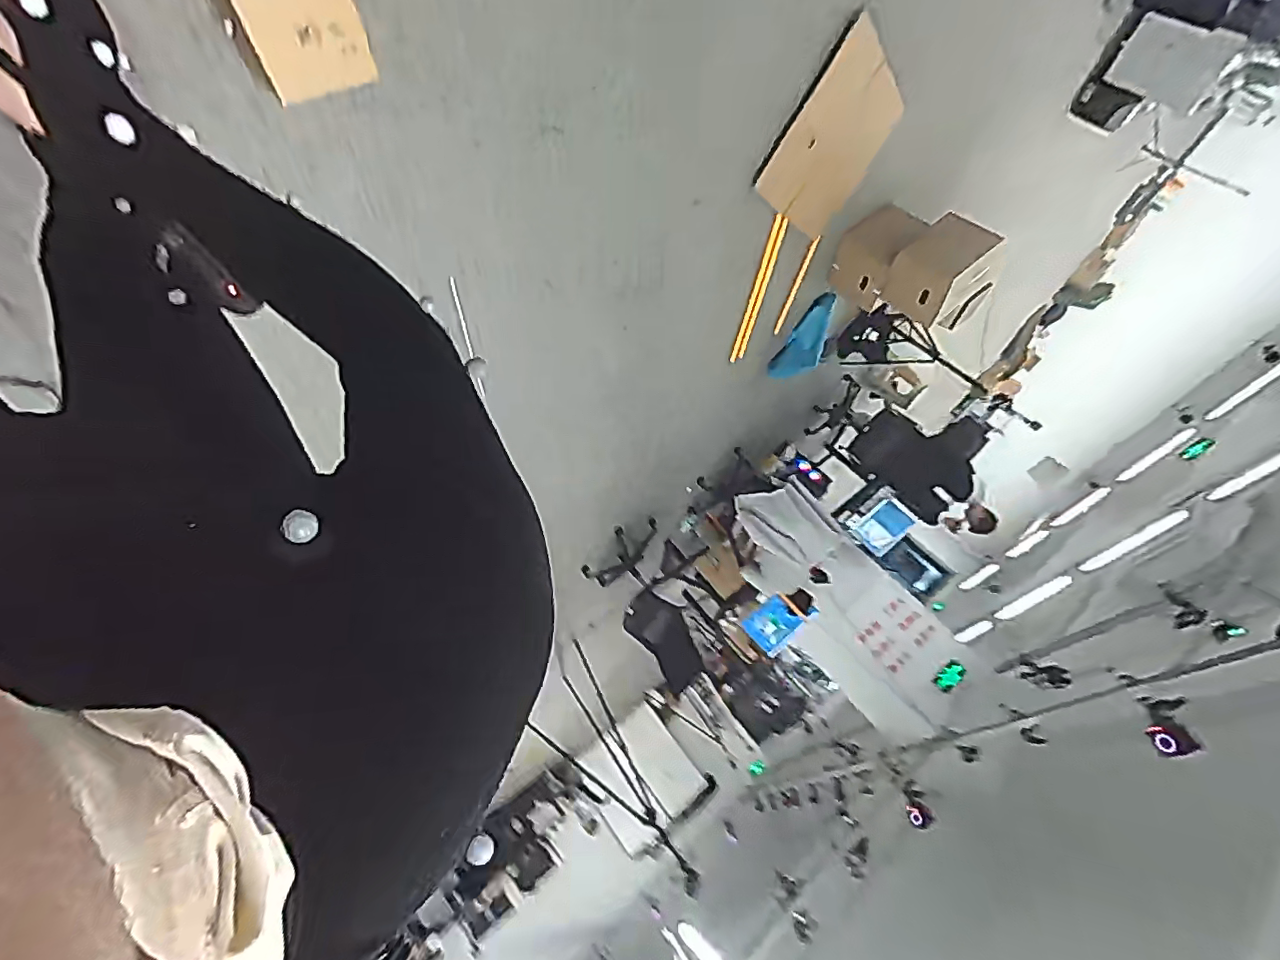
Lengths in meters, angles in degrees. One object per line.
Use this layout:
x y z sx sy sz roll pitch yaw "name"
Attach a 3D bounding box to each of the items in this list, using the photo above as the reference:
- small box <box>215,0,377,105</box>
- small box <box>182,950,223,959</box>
-0.583 -0.767 0.897 0.179 0.176 0.168 -35 155 -20 "small box"
-1.332 1.517 1.570 0.168 0.176 0.179 -32 152 -22 "small box"
